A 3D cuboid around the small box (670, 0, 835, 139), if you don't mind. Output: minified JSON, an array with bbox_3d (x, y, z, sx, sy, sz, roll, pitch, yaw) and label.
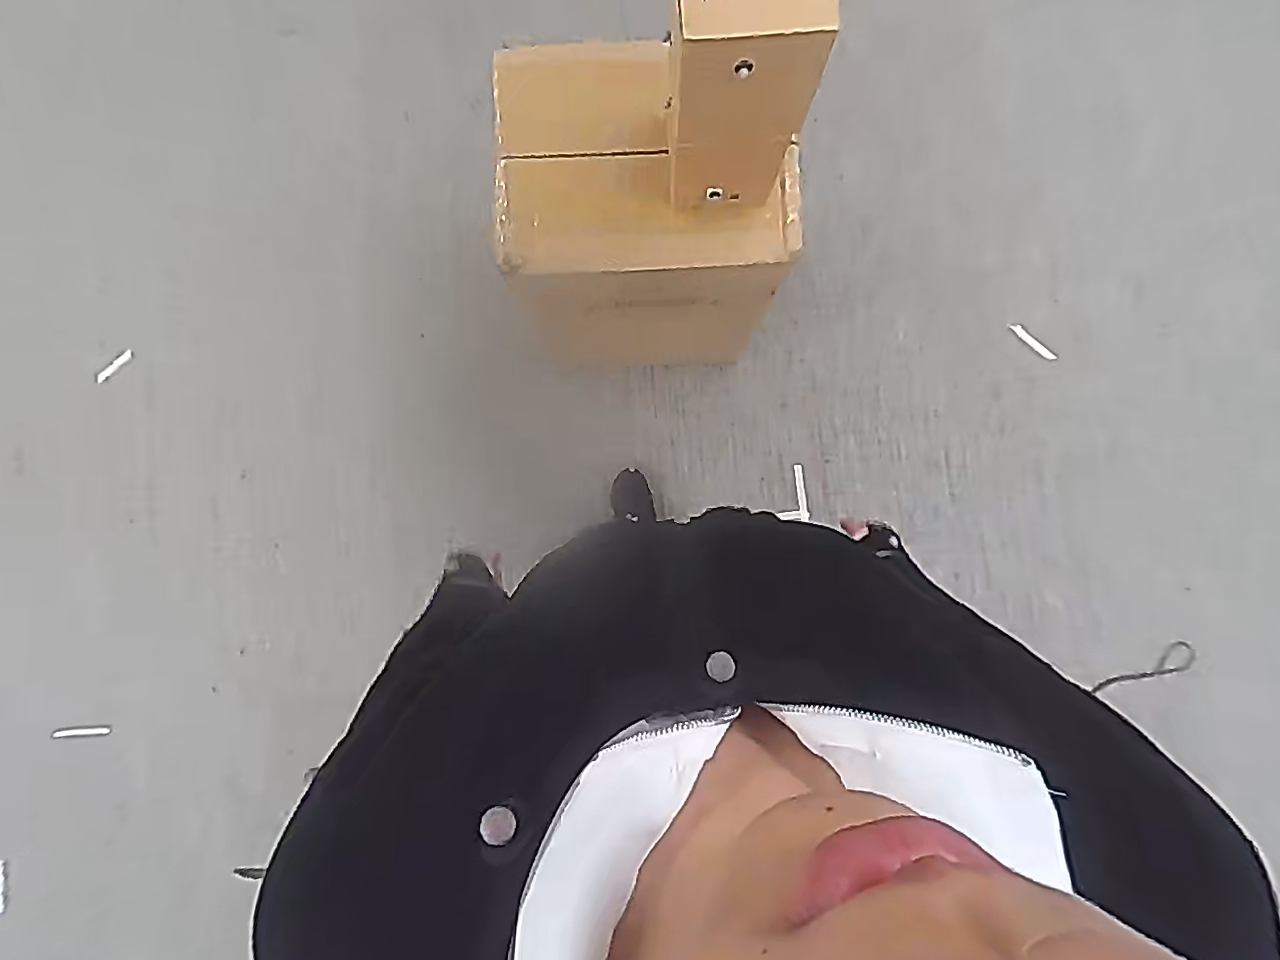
[{"bbox_3d":[0.127,-0.563,0.682,0.179,0.176,0.168,-3,87,1],"label":"small box"}]

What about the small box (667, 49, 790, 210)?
[{"bbox_3d":[0.129,-0.555,0.847,0.168,0.176,0.179,-3,88,2],"label":"small box"}]
